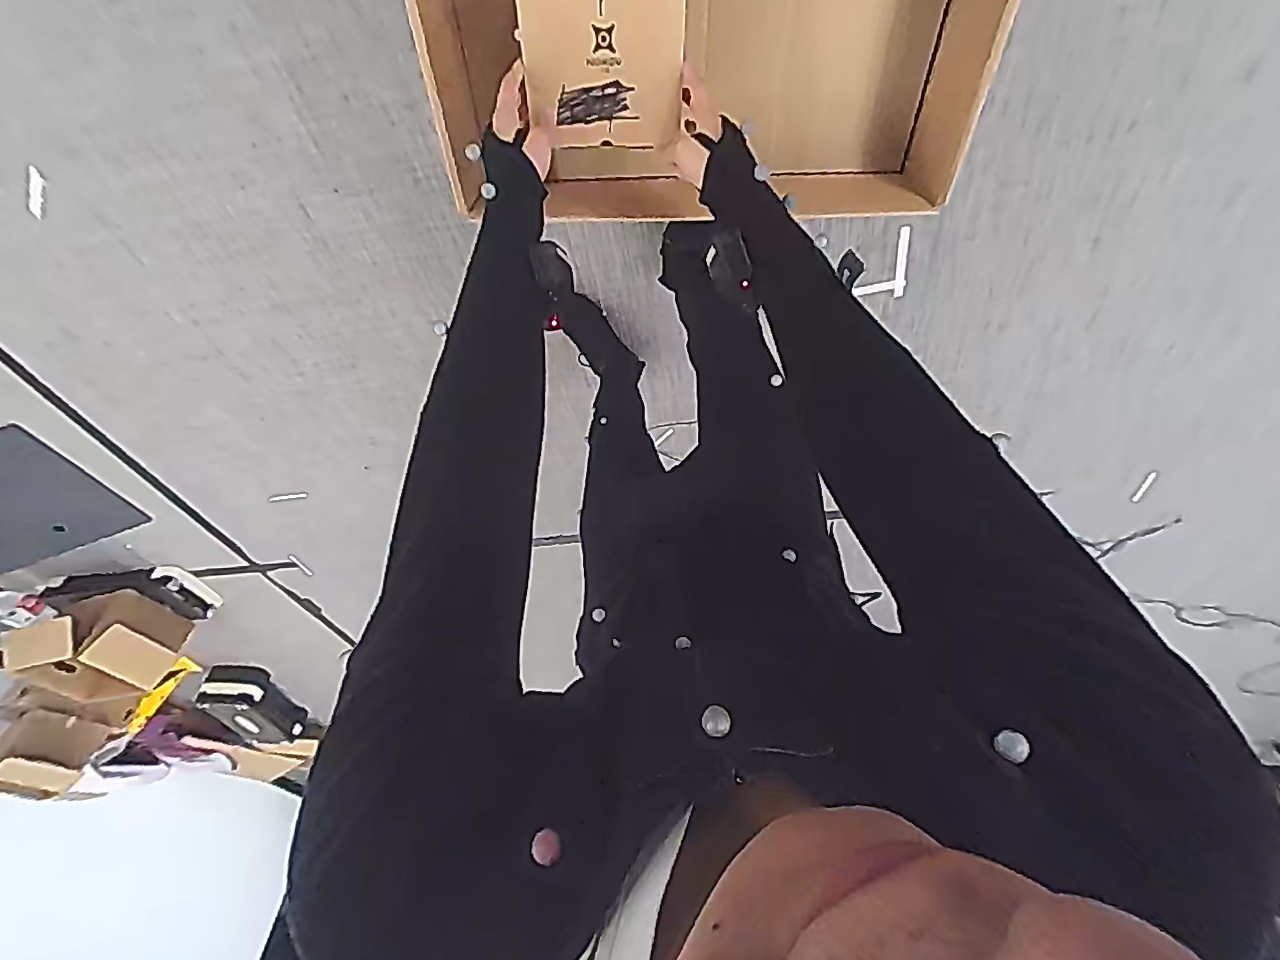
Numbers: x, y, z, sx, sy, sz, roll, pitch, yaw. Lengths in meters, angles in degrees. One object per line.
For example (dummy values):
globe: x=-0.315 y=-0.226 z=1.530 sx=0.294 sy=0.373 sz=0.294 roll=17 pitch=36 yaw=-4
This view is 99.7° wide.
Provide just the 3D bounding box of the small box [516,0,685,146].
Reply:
small box: x=-0.040 y=-0.491 z=0.600 sx=0.168 sy=0.176 sz=0.179 roll=-1 pitch=133 yaw=-1
